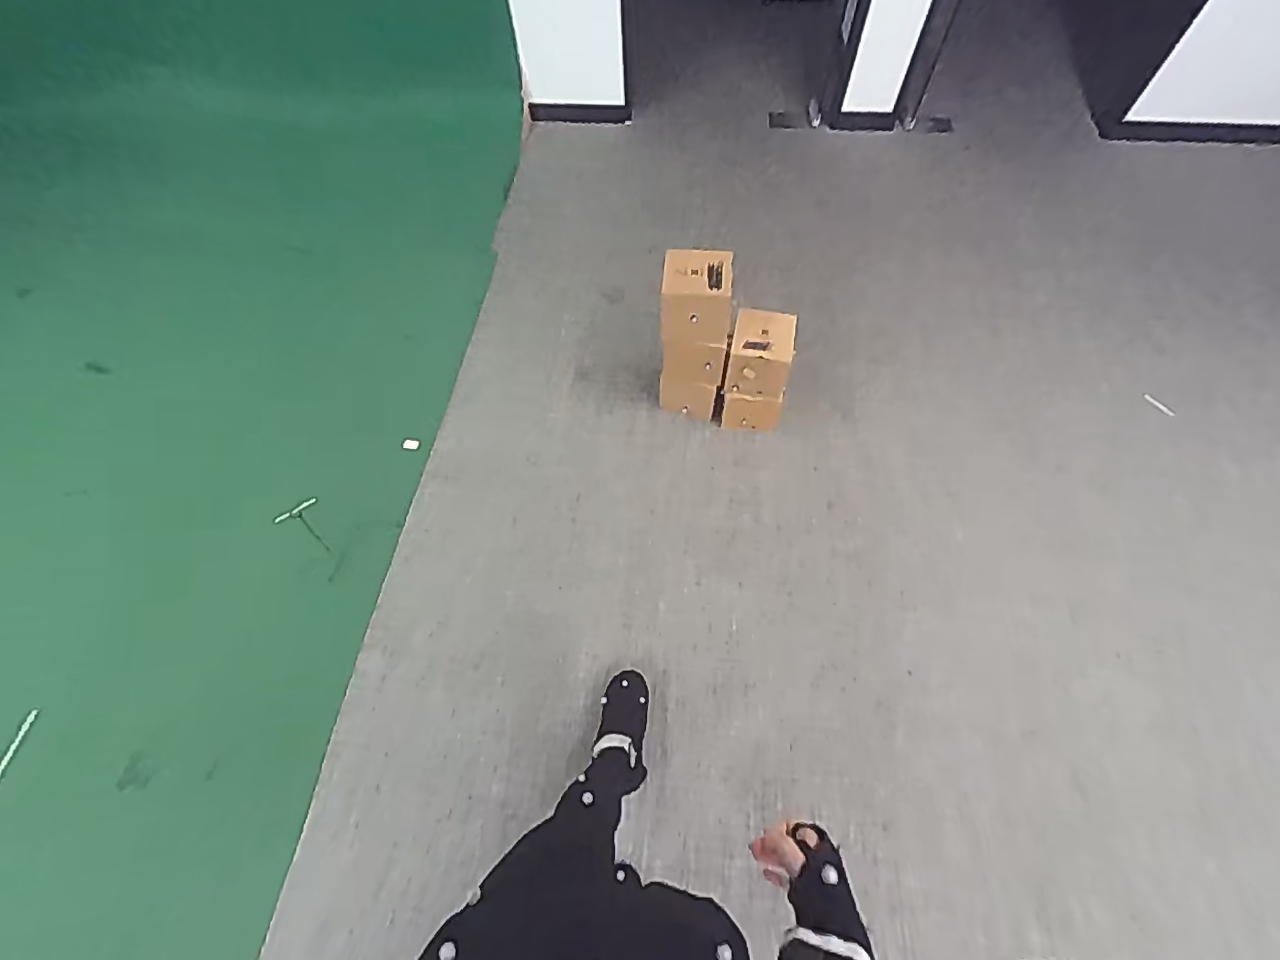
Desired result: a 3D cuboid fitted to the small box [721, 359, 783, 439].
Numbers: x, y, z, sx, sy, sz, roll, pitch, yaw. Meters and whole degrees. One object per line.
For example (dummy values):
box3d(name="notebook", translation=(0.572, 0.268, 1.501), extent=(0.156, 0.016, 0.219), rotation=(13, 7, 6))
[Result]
box3d(name="small box", translation=(0.347, -0.252, 1.689), extent=(0.168, 0.176, 0.179), rotation=(5, 62, 5))
